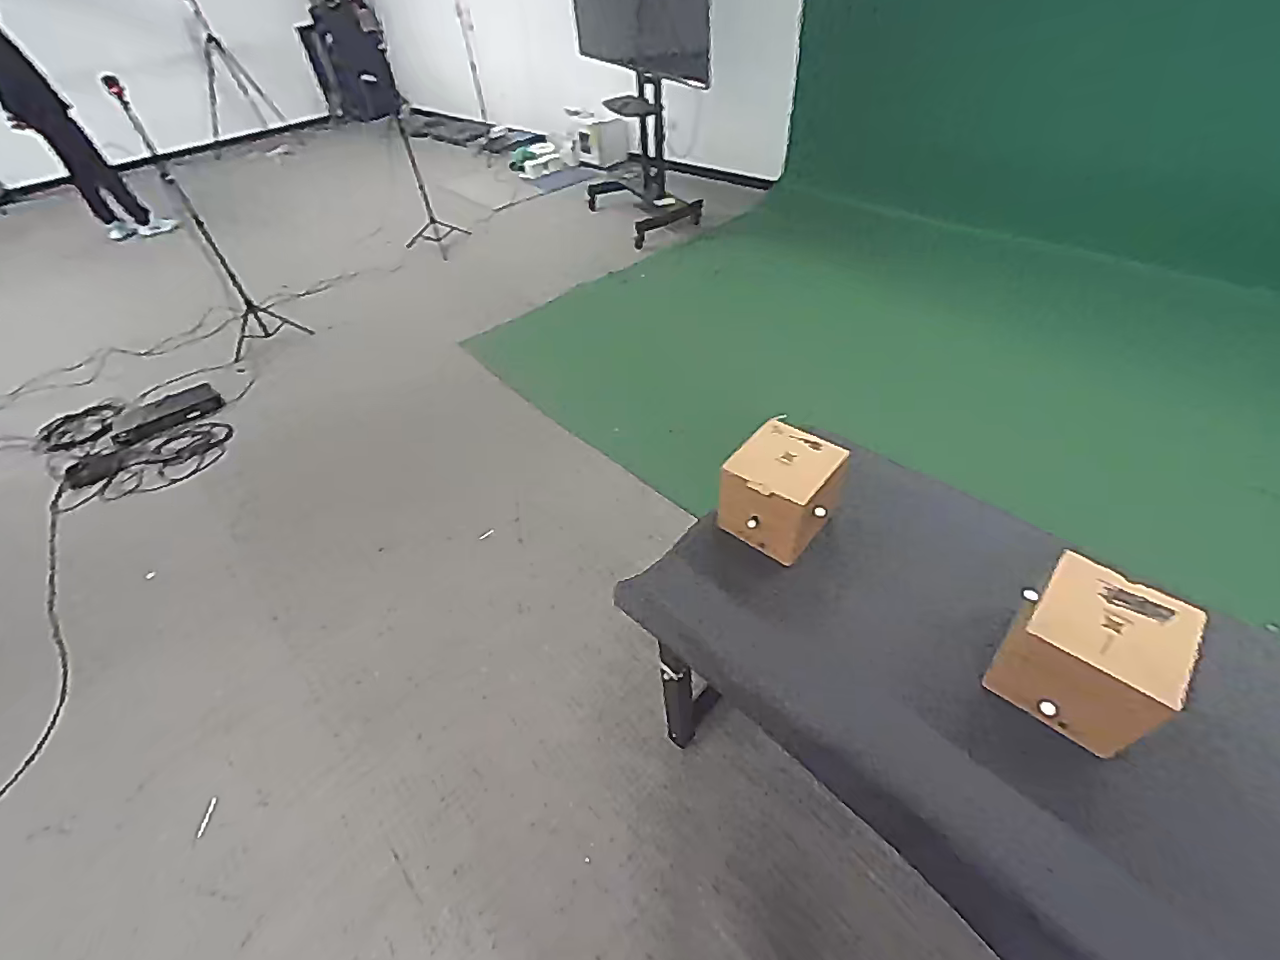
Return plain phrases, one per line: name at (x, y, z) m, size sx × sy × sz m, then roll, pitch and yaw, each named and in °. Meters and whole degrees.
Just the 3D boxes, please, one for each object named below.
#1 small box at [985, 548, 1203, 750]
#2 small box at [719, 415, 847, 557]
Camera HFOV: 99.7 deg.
small box at (0.628, 0.238, 0.766) m, size 0.168 × 0.176 × 0.179 m, roll 32°, pitch 57°, yaw 32°
small box at (0.266, 0.013, 1.029) m, size 0.168 × 0.176 × 0.179 m, roll 30°, pitch 56°, yaw 30°
